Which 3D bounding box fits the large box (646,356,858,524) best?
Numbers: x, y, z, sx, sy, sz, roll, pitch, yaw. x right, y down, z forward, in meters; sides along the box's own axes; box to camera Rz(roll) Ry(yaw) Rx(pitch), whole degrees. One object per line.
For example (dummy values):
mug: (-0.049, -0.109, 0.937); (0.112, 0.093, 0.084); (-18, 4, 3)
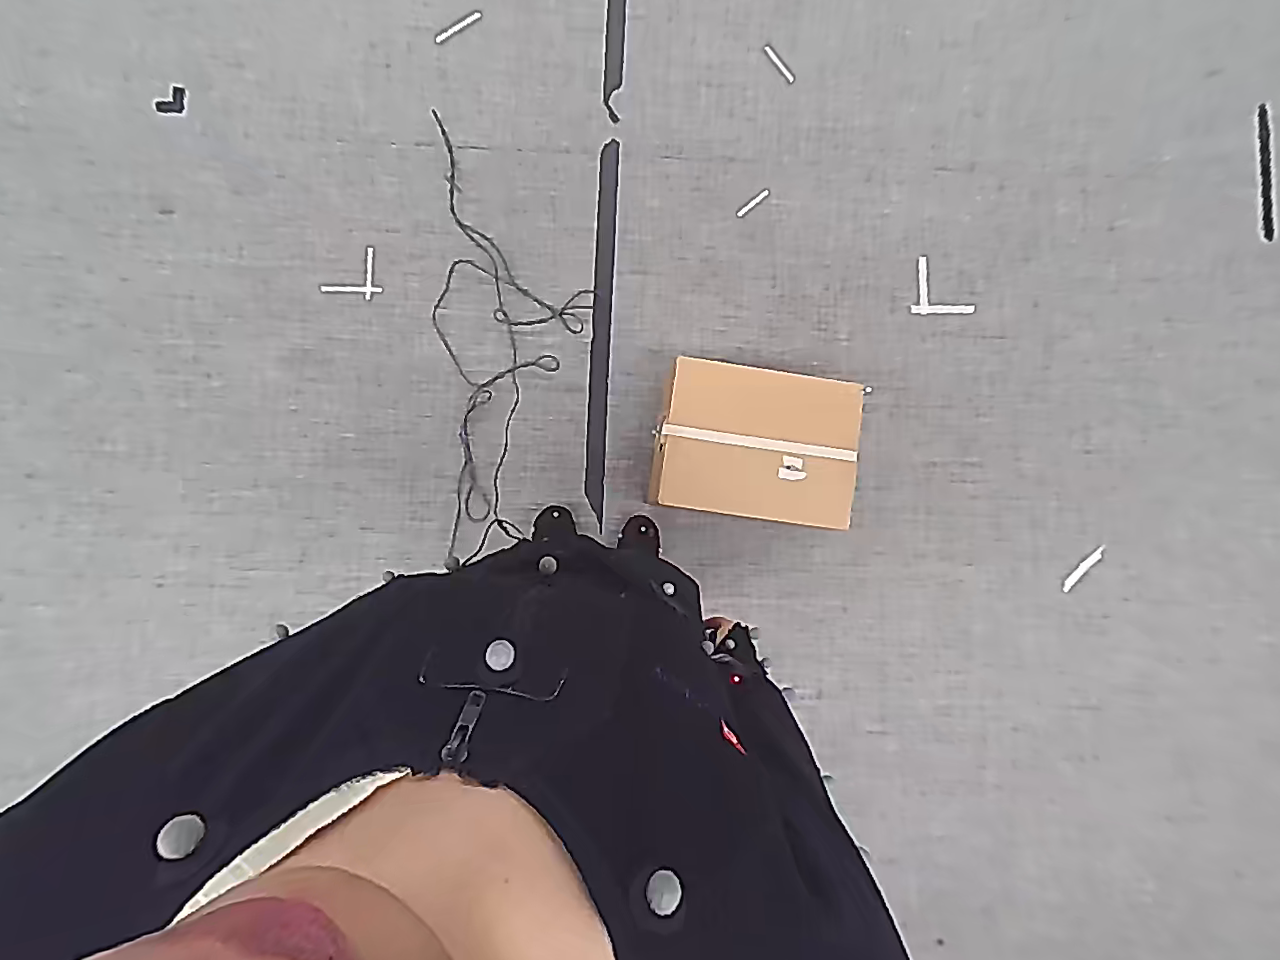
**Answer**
large box: (0.237, -0.075, 1.271); (0.408, 0.320, 0.320); (8, 87, -4)
